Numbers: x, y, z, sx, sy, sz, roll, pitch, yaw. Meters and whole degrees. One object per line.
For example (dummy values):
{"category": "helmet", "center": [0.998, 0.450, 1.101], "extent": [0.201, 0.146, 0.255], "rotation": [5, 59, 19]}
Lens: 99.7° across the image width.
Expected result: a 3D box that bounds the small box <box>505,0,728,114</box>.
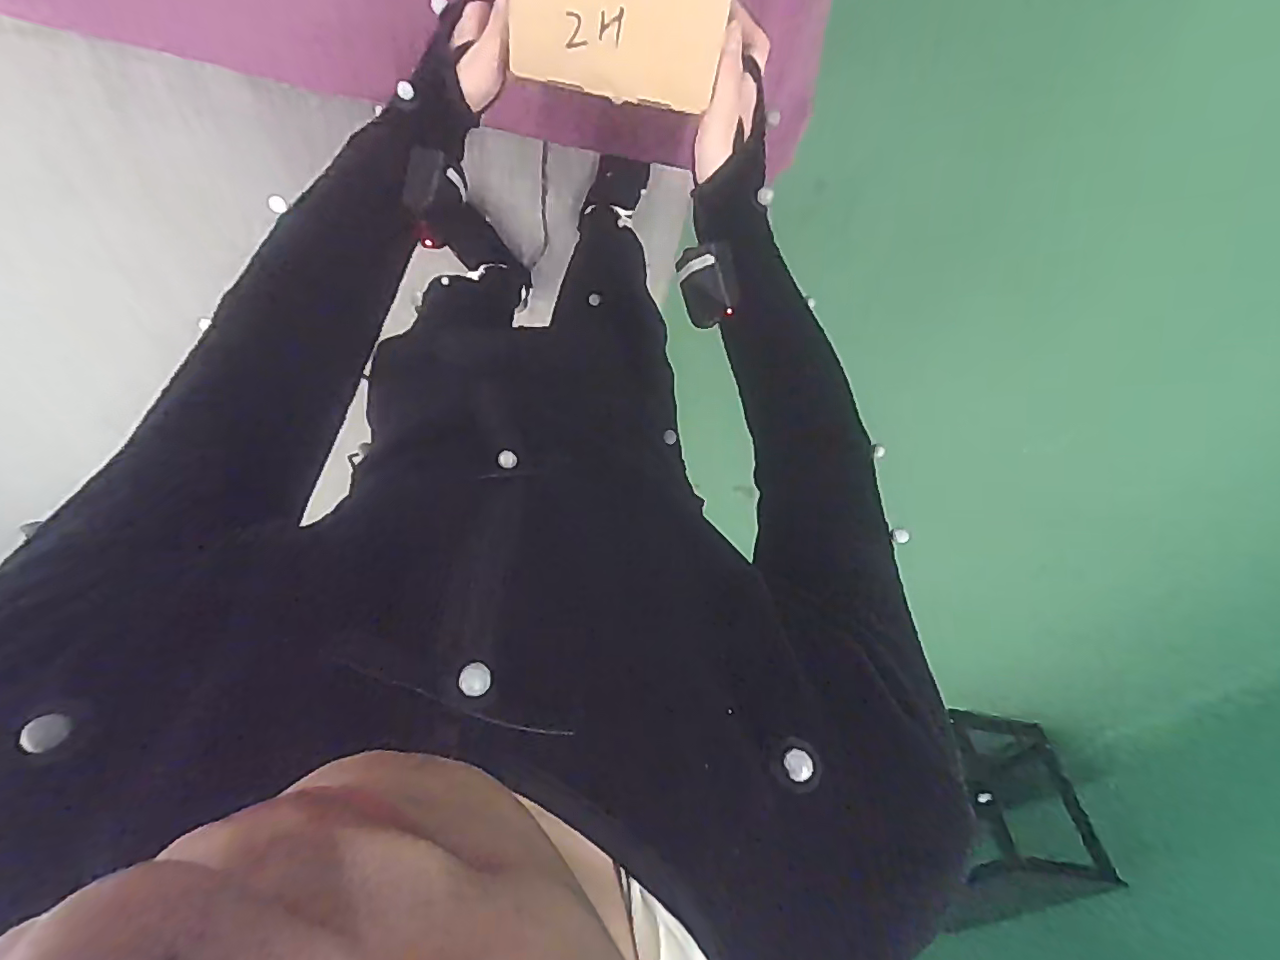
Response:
{"category": "small box", "center": [-0.009, -0.430, 0.443], "extent": [0.168, 0.176, 0.179], "rotation": [10, 132, -3]}
